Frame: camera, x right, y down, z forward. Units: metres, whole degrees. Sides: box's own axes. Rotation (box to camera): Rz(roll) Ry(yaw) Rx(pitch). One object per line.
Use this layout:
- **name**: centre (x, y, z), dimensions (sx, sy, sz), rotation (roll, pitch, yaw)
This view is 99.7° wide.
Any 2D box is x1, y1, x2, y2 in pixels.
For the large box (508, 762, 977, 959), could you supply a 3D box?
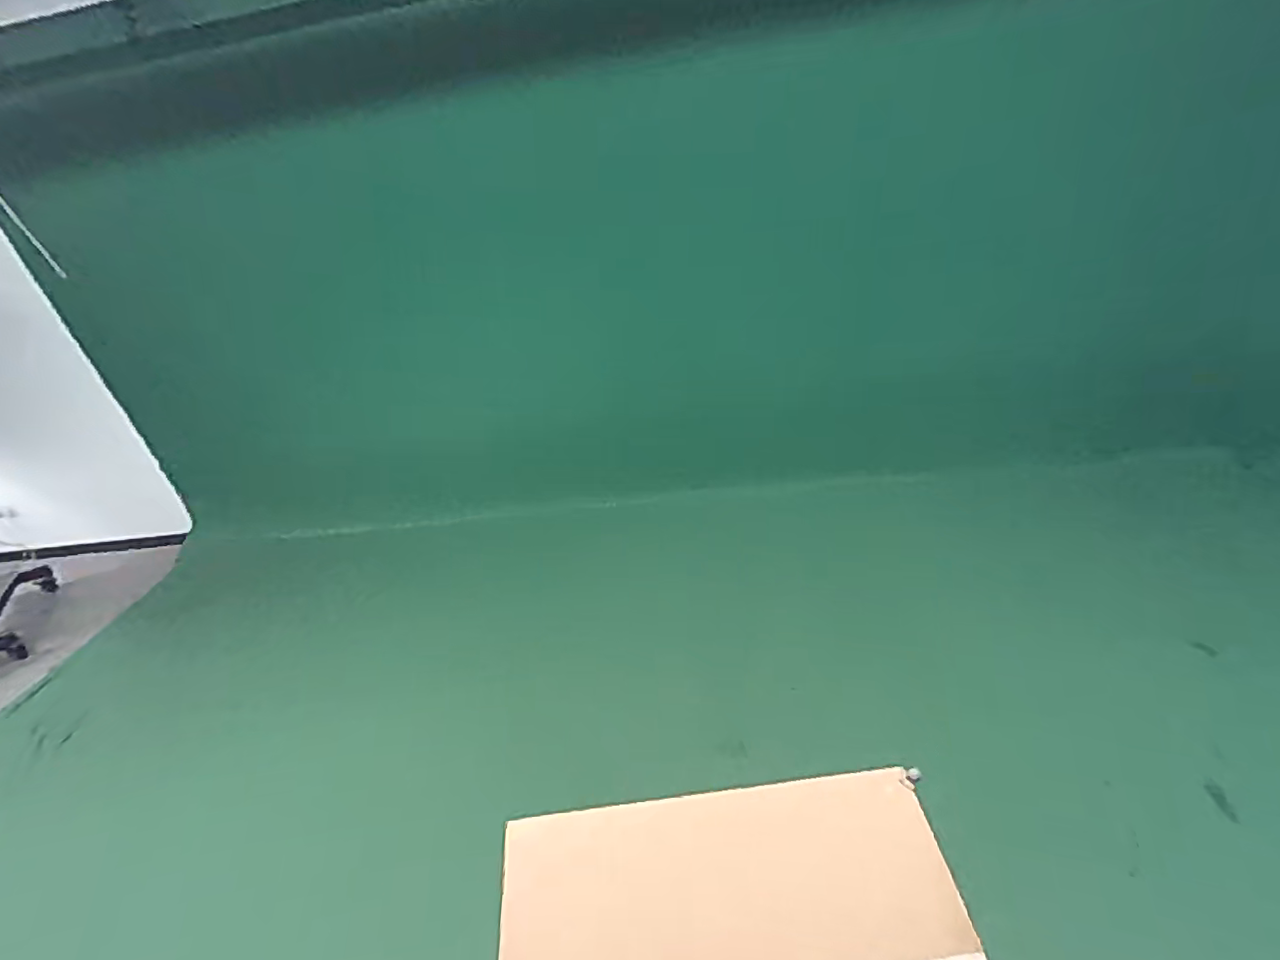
- **large box**: centre (0.089, 0.529, 0.547), dimensions (0.408, 0.320, 0.320), rotation (-5, 45, -5)
